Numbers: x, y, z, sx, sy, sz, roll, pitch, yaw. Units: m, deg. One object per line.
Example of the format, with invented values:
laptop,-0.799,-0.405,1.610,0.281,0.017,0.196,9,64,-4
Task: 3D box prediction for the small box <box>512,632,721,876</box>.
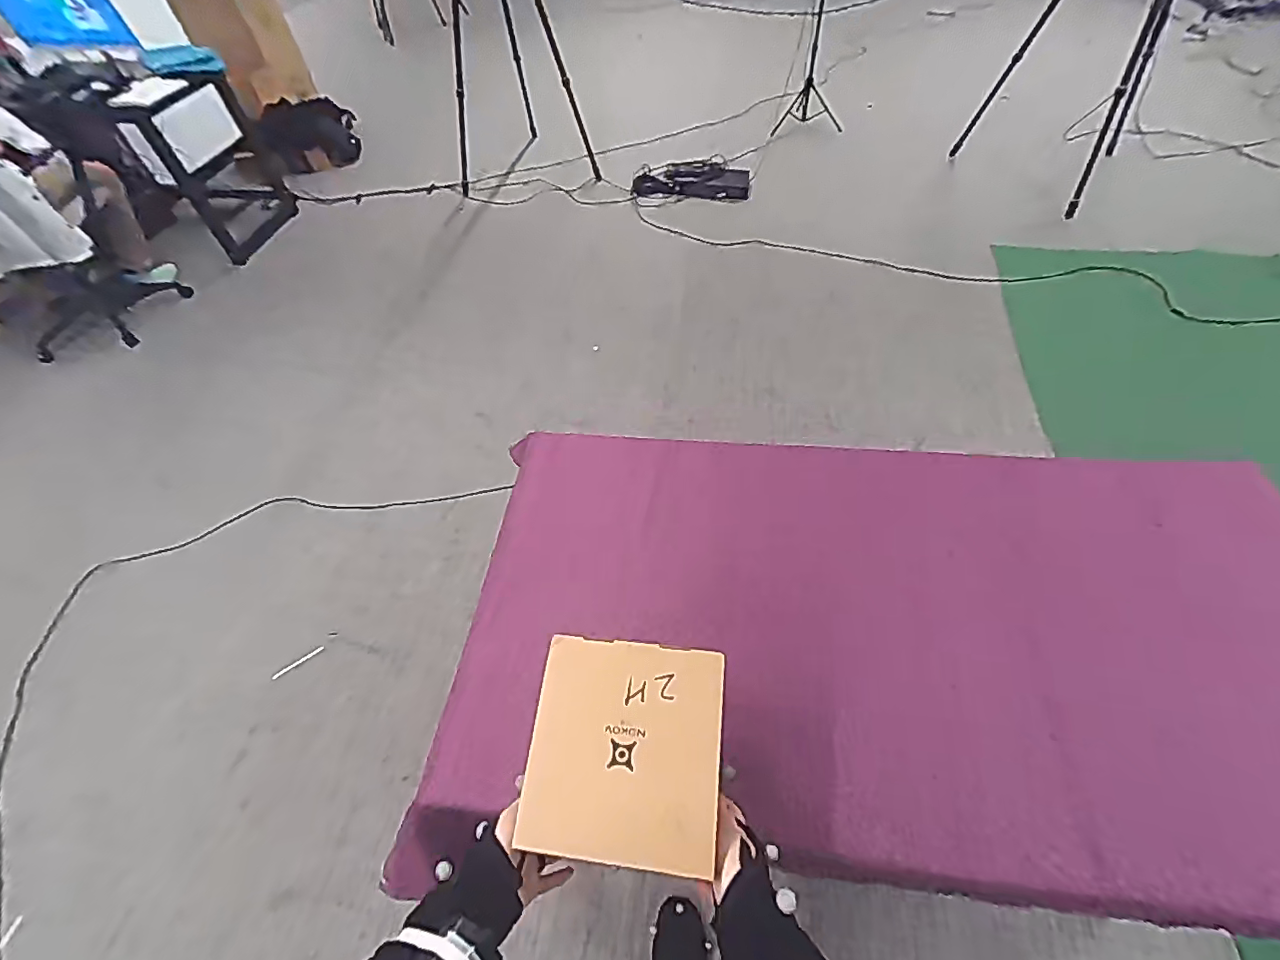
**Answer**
small box,-0.008,0.267,0.541,0.168,0.176,0.179,4,60,8
